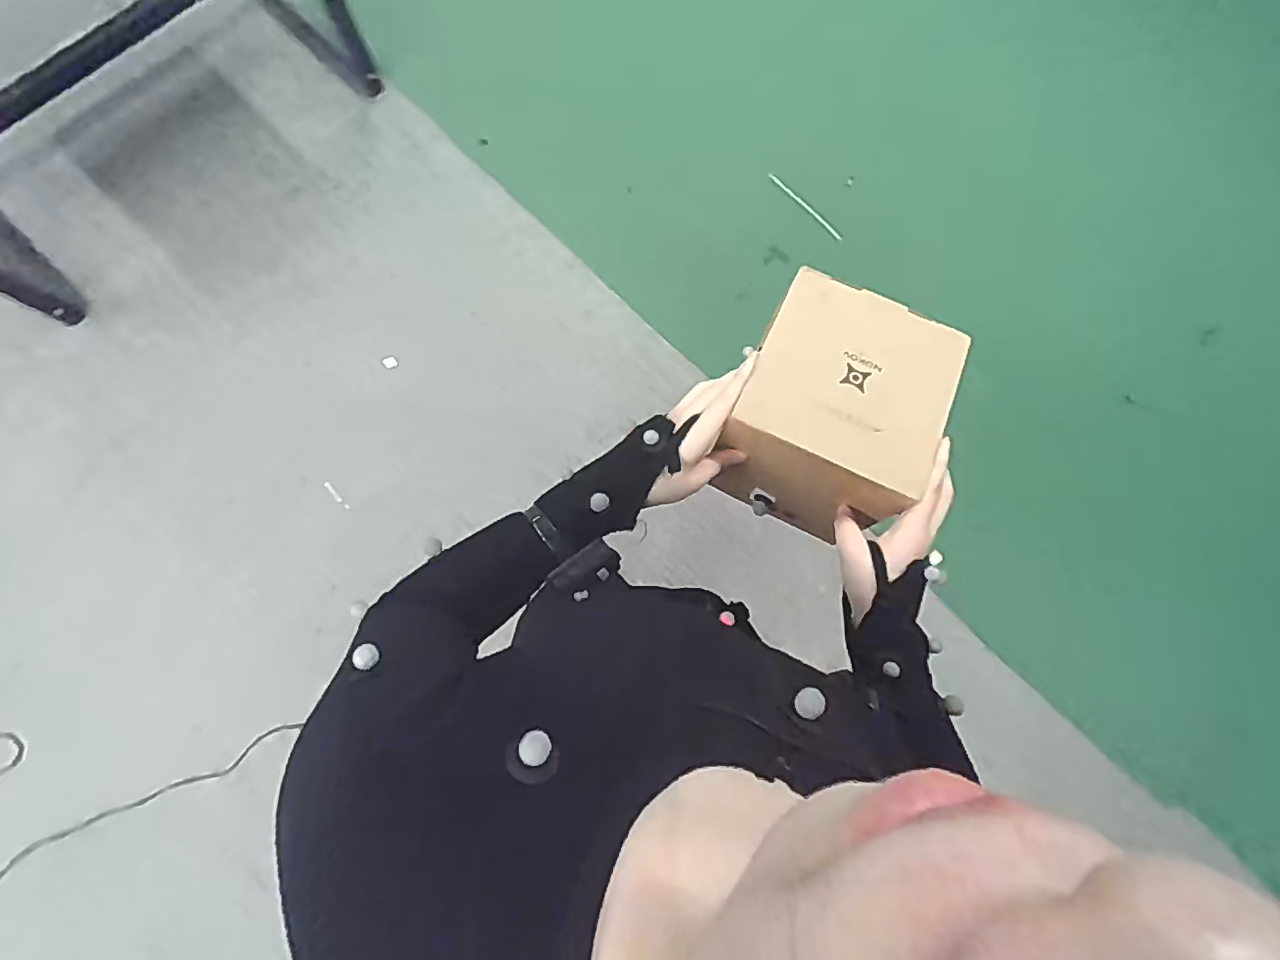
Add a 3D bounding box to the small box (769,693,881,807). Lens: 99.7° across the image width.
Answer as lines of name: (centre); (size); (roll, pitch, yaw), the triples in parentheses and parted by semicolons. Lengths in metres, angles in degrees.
small box: (0.459, 0.669, 1.368); (0.179, 0.176, 0.168); (41, 80, 4)
